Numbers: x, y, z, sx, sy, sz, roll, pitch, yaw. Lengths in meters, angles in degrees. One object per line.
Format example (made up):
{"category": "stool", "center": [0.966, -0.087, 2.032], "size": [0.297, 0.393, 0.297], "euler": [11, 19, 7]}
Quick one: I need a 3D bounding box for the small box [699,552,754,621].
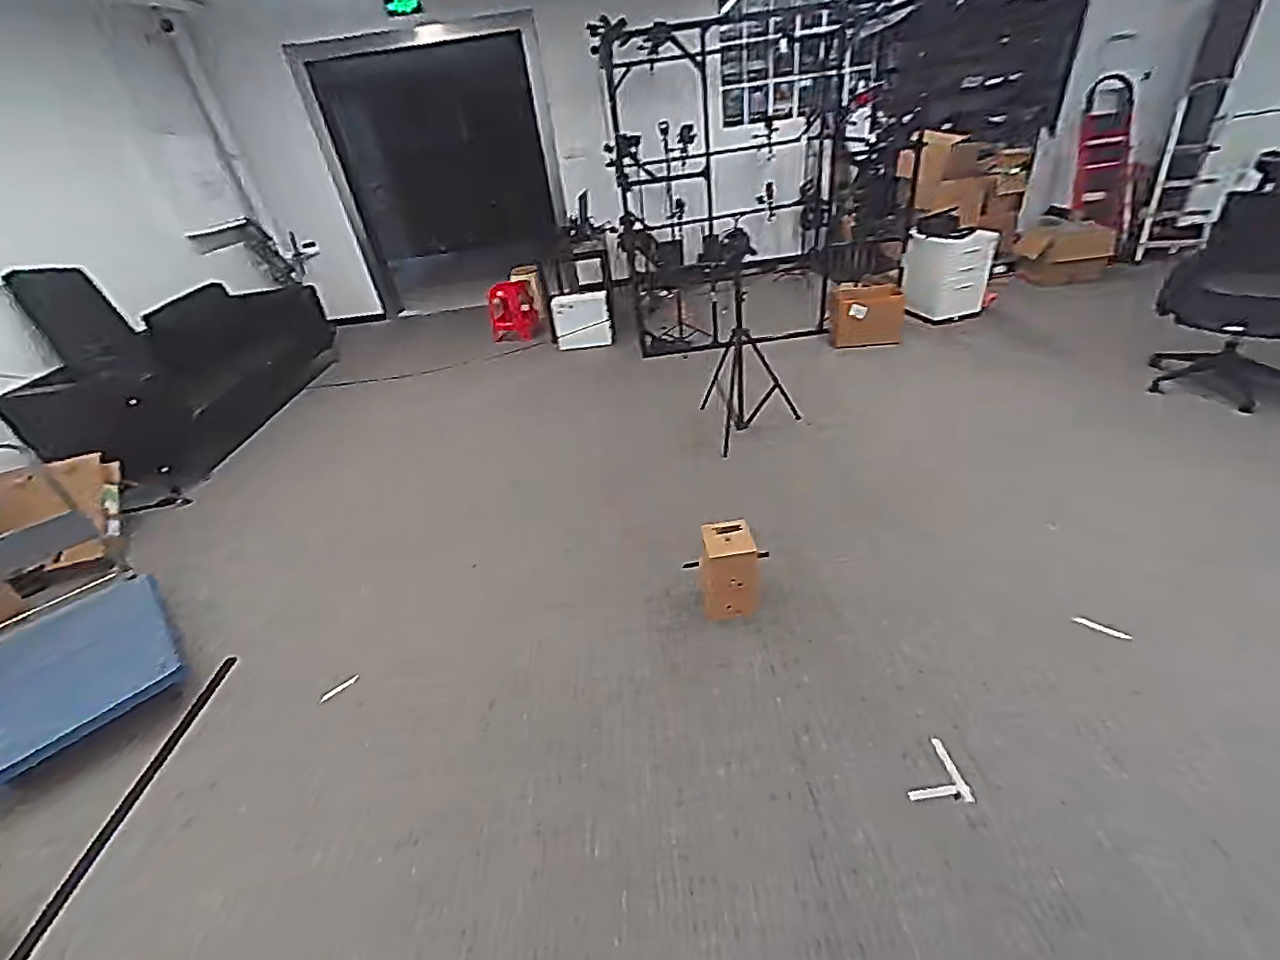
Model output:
{"category": "small box", "center": [0.319, 0.398, 2.017], "size": [0.168, 0.176, 0.179], "euler": [-11, 33, -3]}
